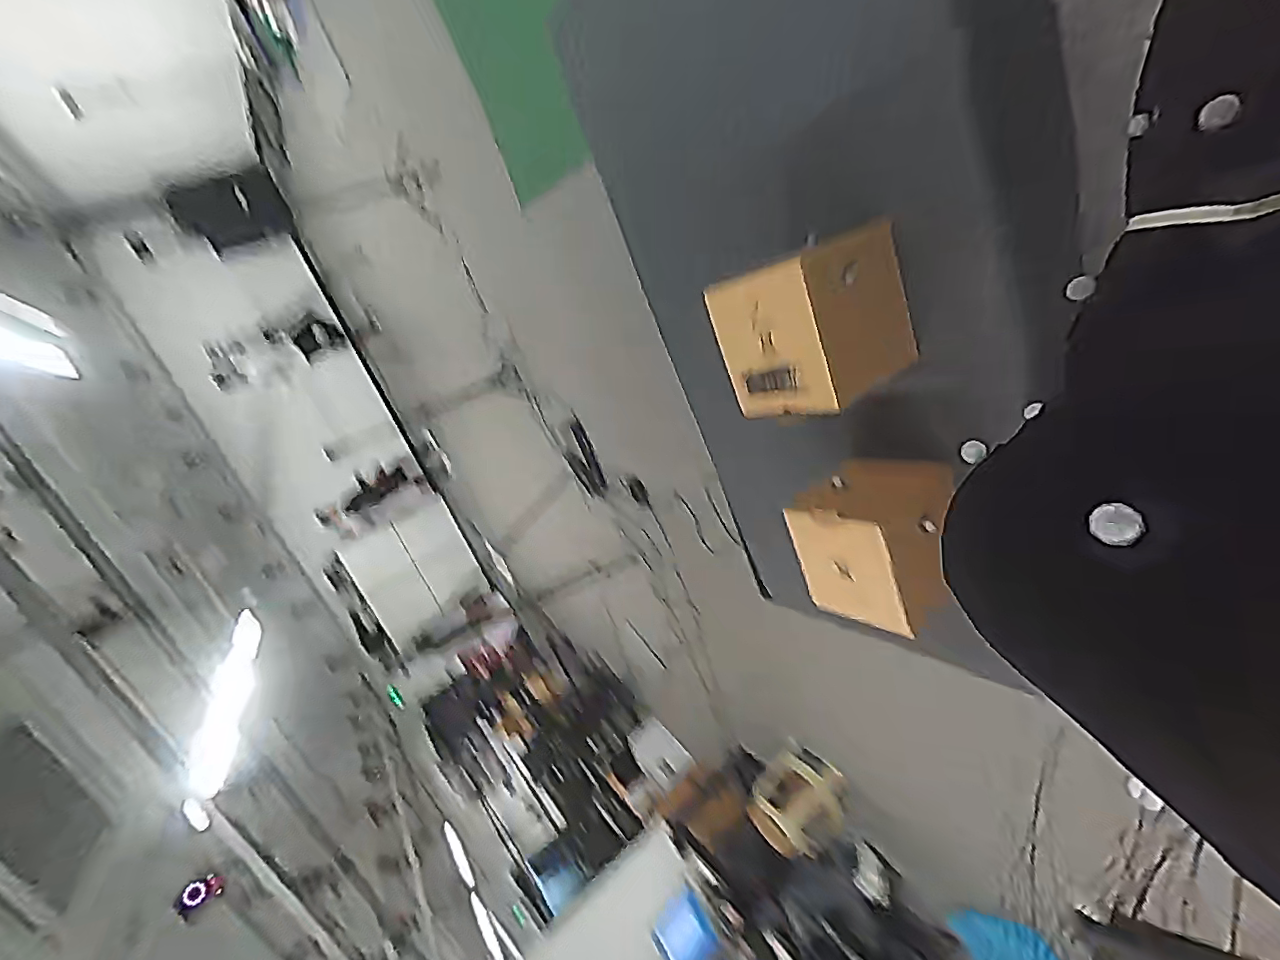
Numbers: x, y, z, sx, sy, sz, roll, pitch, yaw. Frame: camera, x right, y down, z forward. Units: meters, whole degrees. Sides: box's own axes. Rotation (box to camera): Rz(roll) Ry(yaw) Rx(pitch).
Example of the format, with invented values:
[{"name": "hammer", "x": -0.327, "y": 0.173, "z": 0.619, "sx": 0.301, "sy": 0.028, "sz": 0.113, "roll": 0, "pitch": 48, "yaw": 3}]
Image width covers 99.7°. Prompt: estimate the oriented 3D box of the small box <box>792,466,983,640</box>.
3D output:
[{"name": "small box", "x": 0.357, "y": 0.091, "z": 0.781, "sx": 0.168, "sy": 0.176, "sz": 0.179, "roll": 6, "pitch": 124, "yaw": 60}]
